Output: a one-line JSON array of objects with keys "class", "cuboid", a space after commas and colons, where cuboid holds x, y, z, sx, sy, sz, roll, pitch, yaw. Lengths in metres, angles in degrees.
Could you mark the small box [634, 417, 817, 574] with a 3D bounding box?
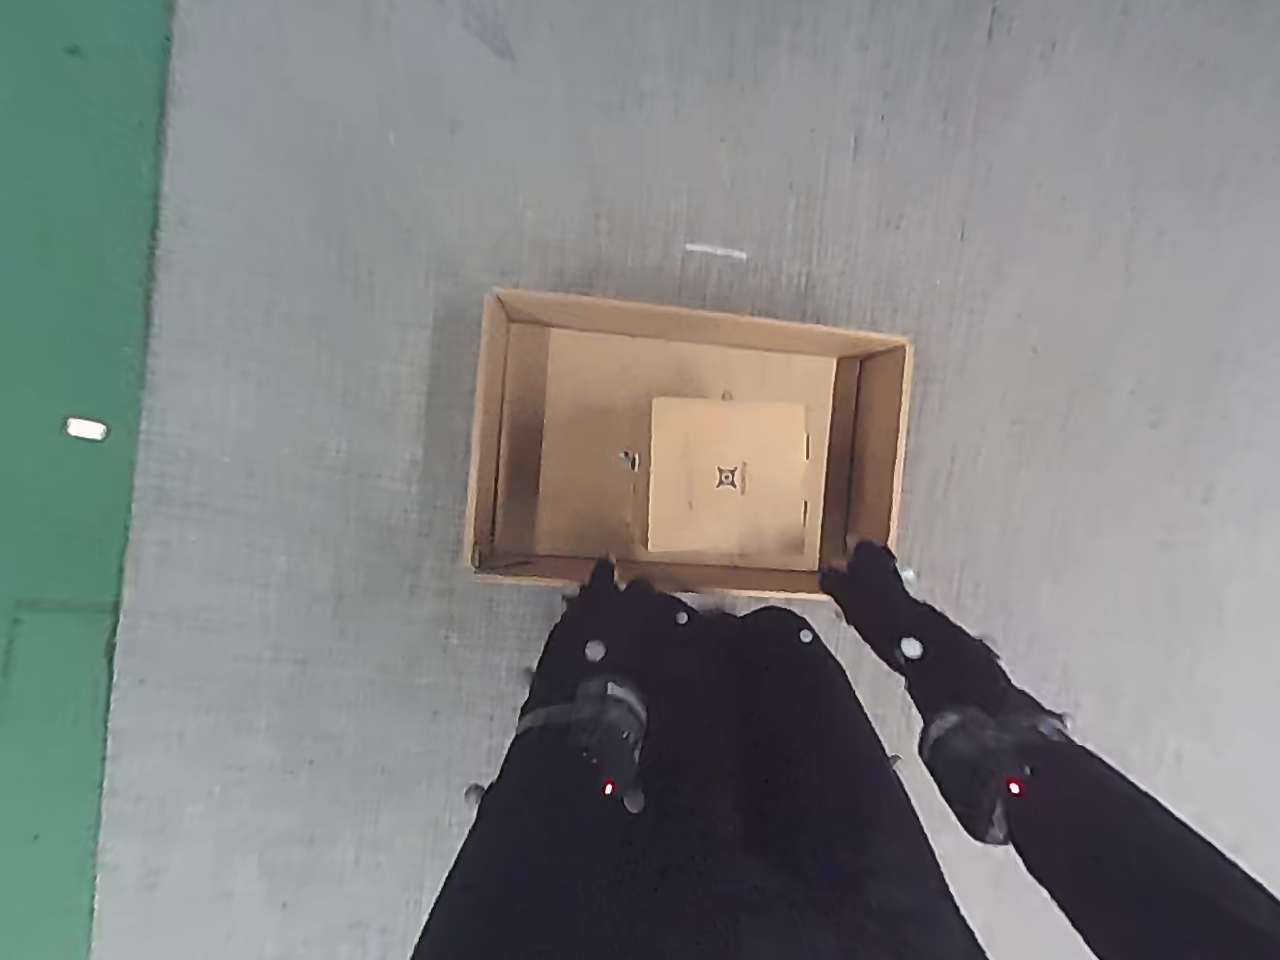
[{"class": "small box", "cuboid": [0.092, 0.012, 0.649, 0.179, 0.176, 0.168, -2, 91, -8]}]
